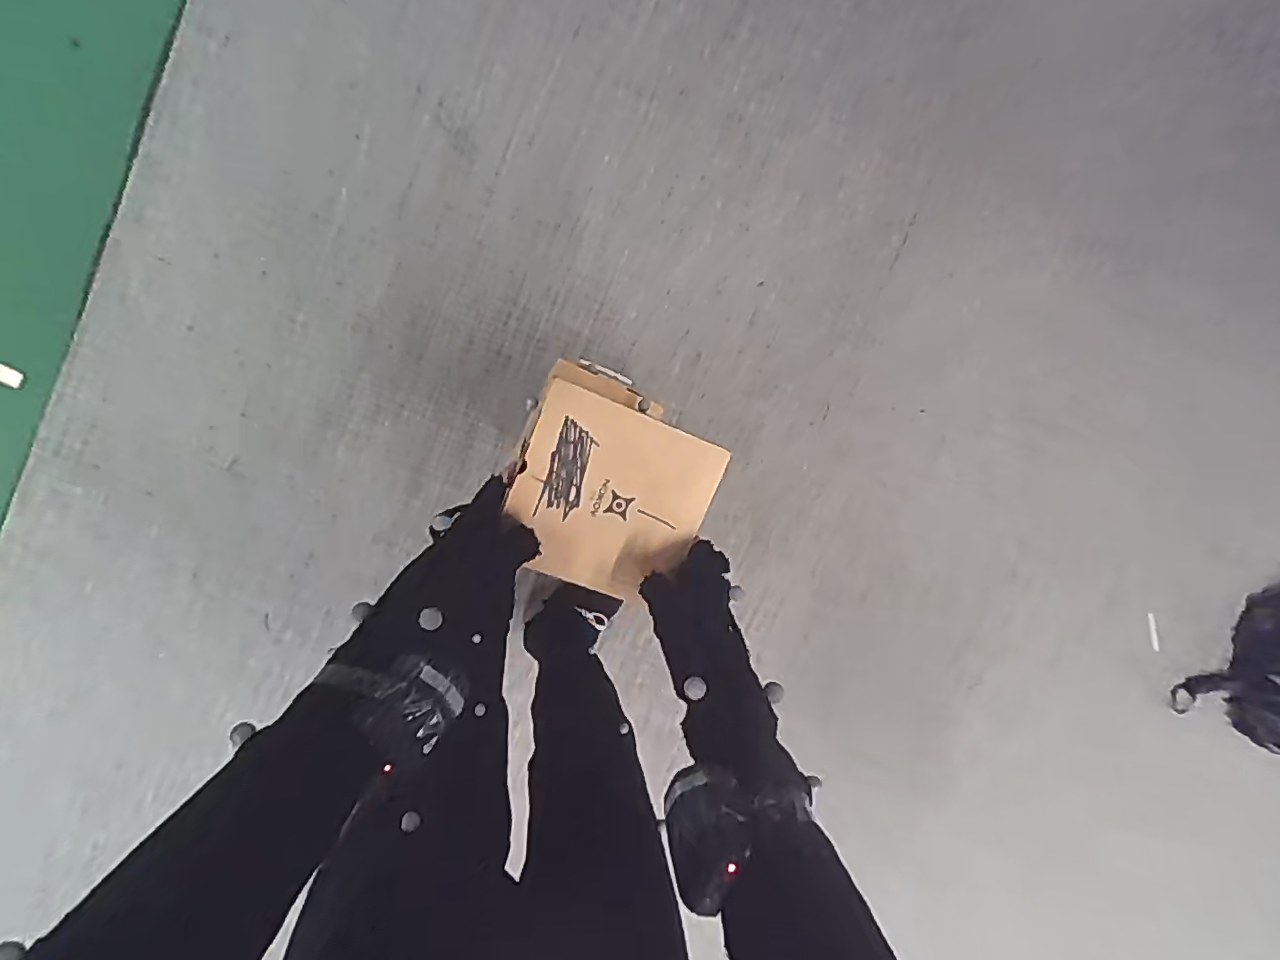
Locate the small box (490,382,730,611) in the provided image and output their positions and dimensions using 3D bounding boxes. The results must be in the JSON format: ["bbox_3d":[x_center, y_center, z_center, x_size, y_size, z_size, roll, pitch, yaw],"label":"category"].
[{"bbox_3d":[-0.039,0.009,0.567,0.179,0.176,0.168,22,95,-13],"label":"small box"}]

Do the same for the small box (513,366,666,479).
[{"bbox_3d":[-0.078,-0.056,0.837,0.168,0.176,0.179,24,94,-6],"label":"small box"}]
